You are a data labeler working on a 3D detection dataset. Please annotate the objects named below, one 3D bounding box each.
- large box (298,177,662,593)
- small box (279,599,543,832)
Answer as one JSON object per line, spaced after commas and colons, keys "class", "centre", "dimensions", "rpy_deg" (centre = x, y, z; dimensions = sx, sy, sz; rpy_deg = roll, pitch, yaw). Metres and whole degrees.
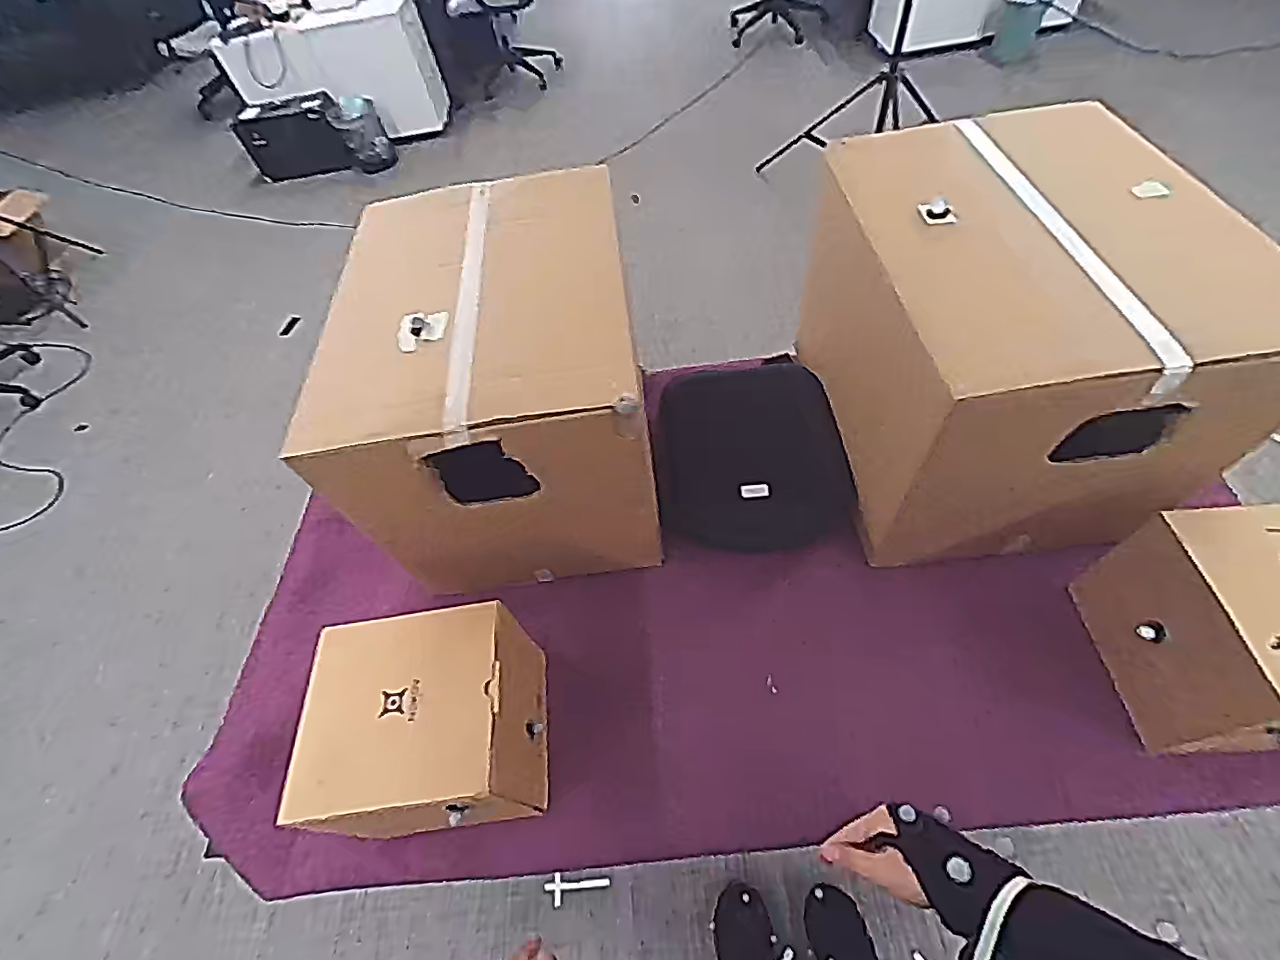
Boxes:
{"class": "large box", "centre": [-0.157, -0.113, 0.695], "dimensions": [0.320, 0.320, 0.408], "rpy_deg": [-9, 57, 2]}
{"class": "small box", "centre": [-0.205, 0.240, 0.540], "dimensions": [0.179, 0.176, 0.168], "rpy_deg": [-10, 54, 0]}
